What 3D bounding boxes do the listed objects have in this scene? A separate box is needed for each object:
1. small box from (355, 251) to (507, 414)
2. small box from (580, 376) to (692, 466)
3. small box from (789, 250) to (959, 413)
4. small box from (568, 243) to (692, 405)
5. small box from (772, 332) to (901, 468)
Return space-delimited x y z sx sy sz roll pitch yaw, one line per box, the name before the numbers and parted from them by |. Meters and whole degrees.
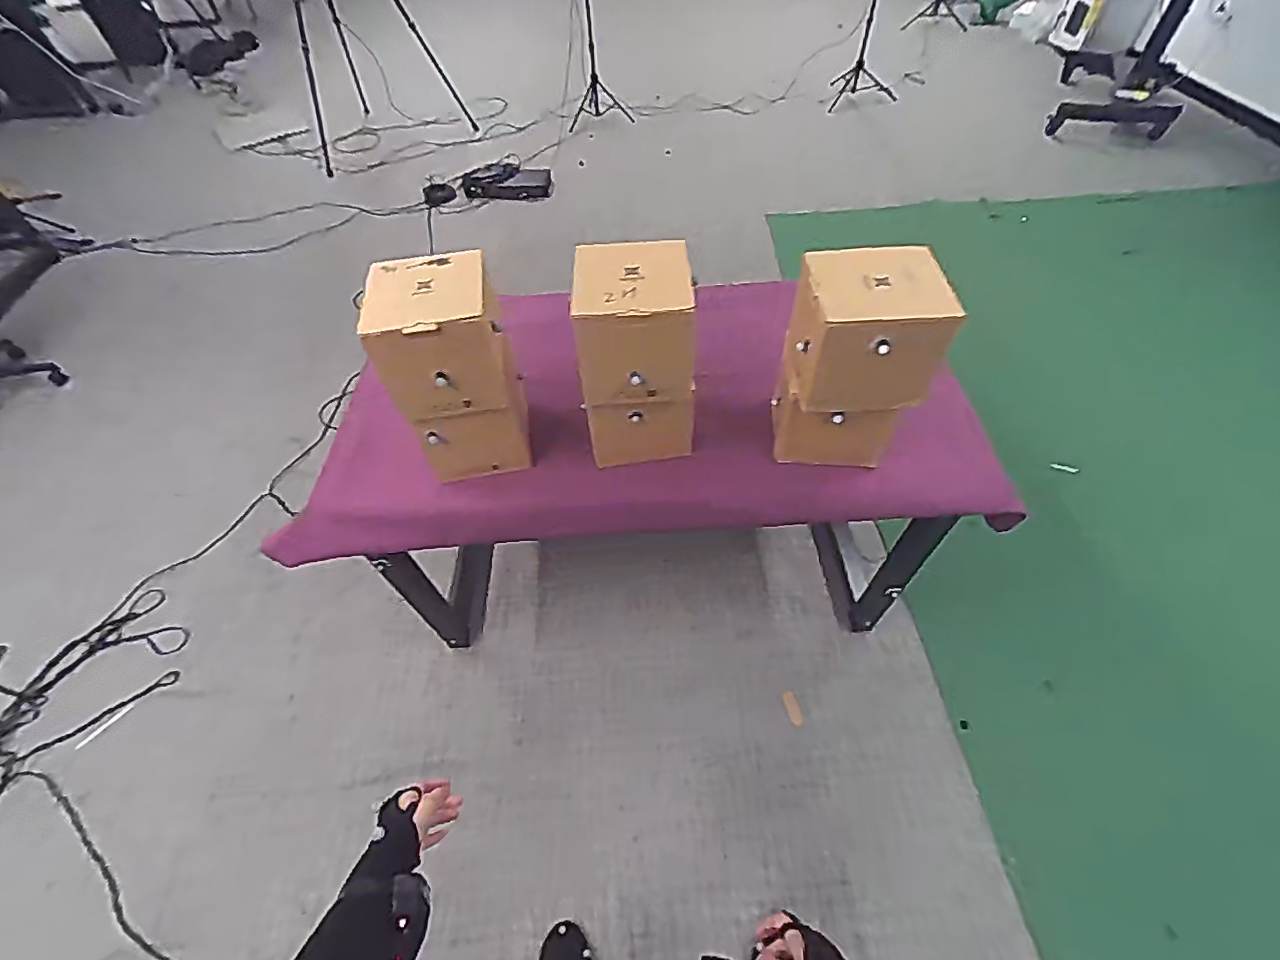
small box | -0.302 -0.215 0.821 0.168 0.176 0.179 -9 53 -4
small box | -0.010 -0.141 0.958 0.179 0.176 0.168 -8 53 -4
small box | 0.320 -0.211 0.788 0.179 0.176 0.168 -1 53 4
small box | -0.012 -0.235 0.822 0.168 0.176 0.179 -3 53 1
small box | 0.329 -0.136 0.936 0.179 0.176 0.168 4 52 7
